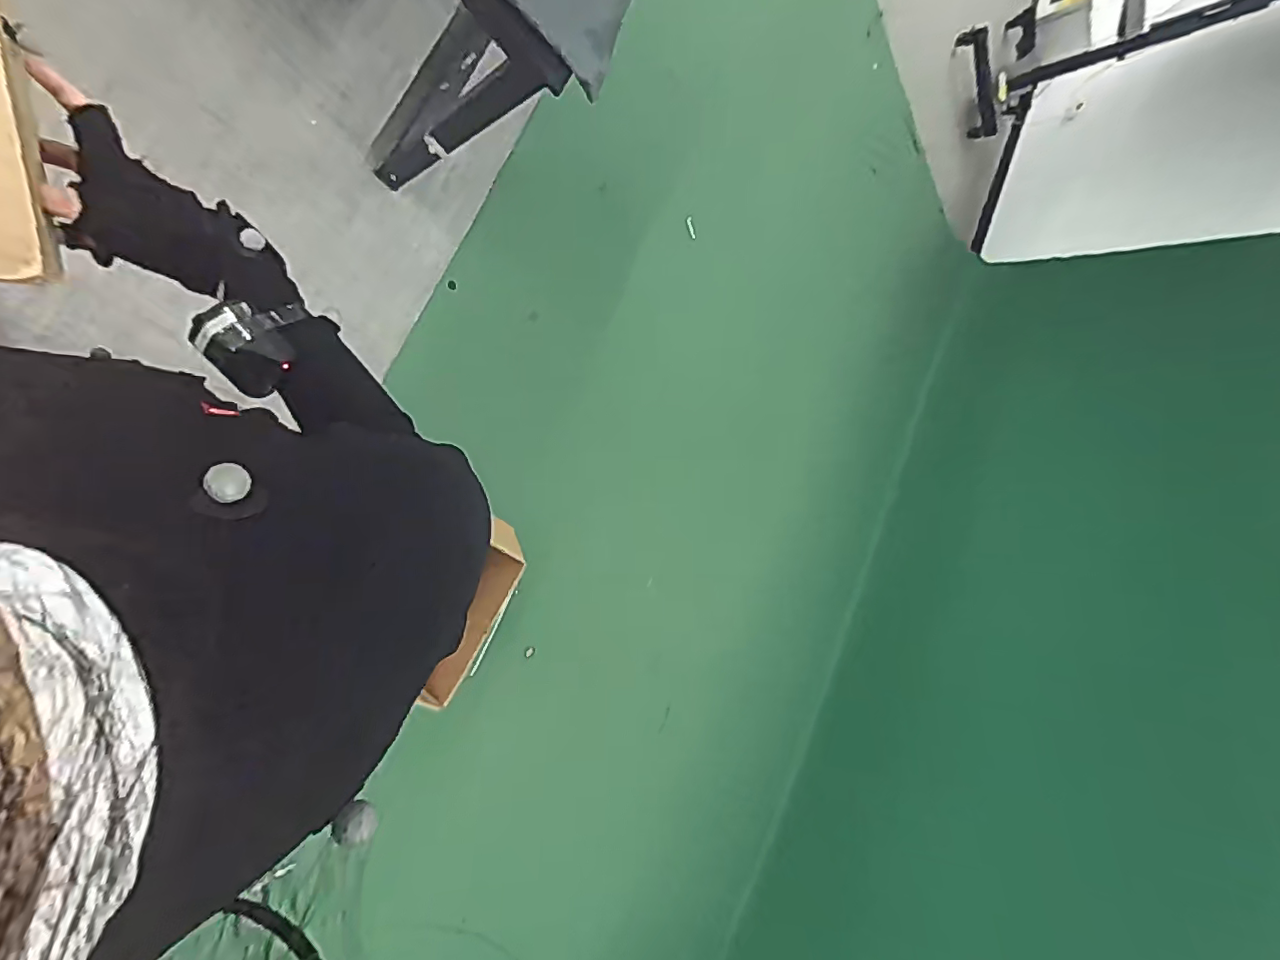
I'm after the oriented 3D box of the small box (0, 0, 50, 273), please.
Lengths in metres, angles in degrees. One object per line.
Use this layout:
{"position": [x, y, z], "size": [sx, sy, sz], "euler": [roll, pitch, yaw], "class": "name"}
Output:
{"position": [-0.434, -0.211, 0.272], "size": [0.168, 0.176, 0.179], "euler": [-8, 113, -42], "class": "small box"}
